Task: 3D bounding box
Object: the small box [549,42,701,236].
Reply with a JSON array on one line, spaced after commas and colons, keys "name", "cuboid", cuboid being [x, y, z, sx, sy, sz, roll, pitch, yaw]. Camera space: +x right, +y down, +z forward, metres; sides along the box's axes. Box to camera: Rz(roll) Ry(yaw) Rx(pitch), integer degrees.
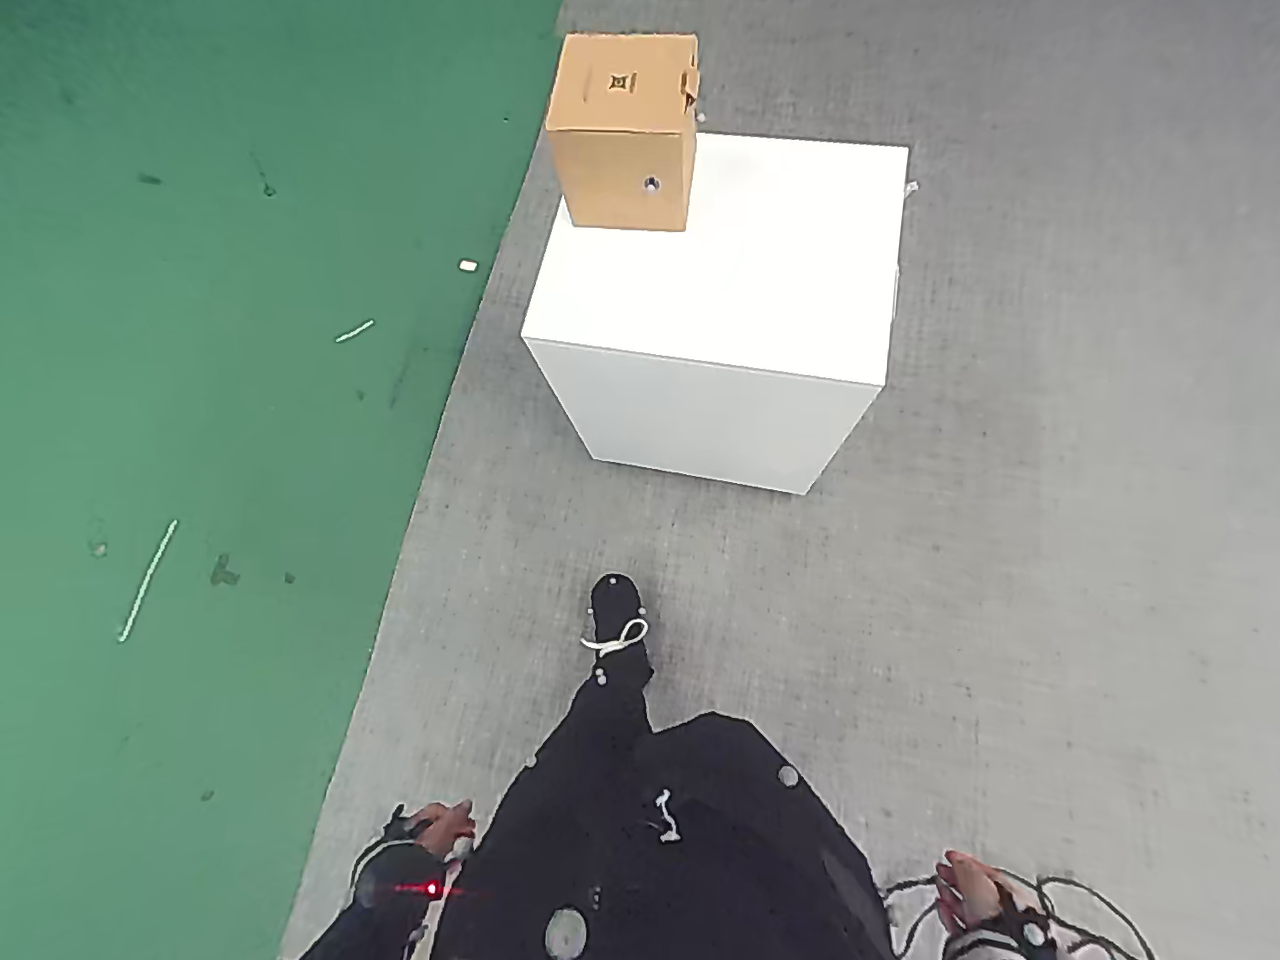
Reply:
[{"name": "small box", "cuboid": [-0.010, -0.469, 0.761, 0.179, 0.176, 0.168, 5, 73, 8]}]
